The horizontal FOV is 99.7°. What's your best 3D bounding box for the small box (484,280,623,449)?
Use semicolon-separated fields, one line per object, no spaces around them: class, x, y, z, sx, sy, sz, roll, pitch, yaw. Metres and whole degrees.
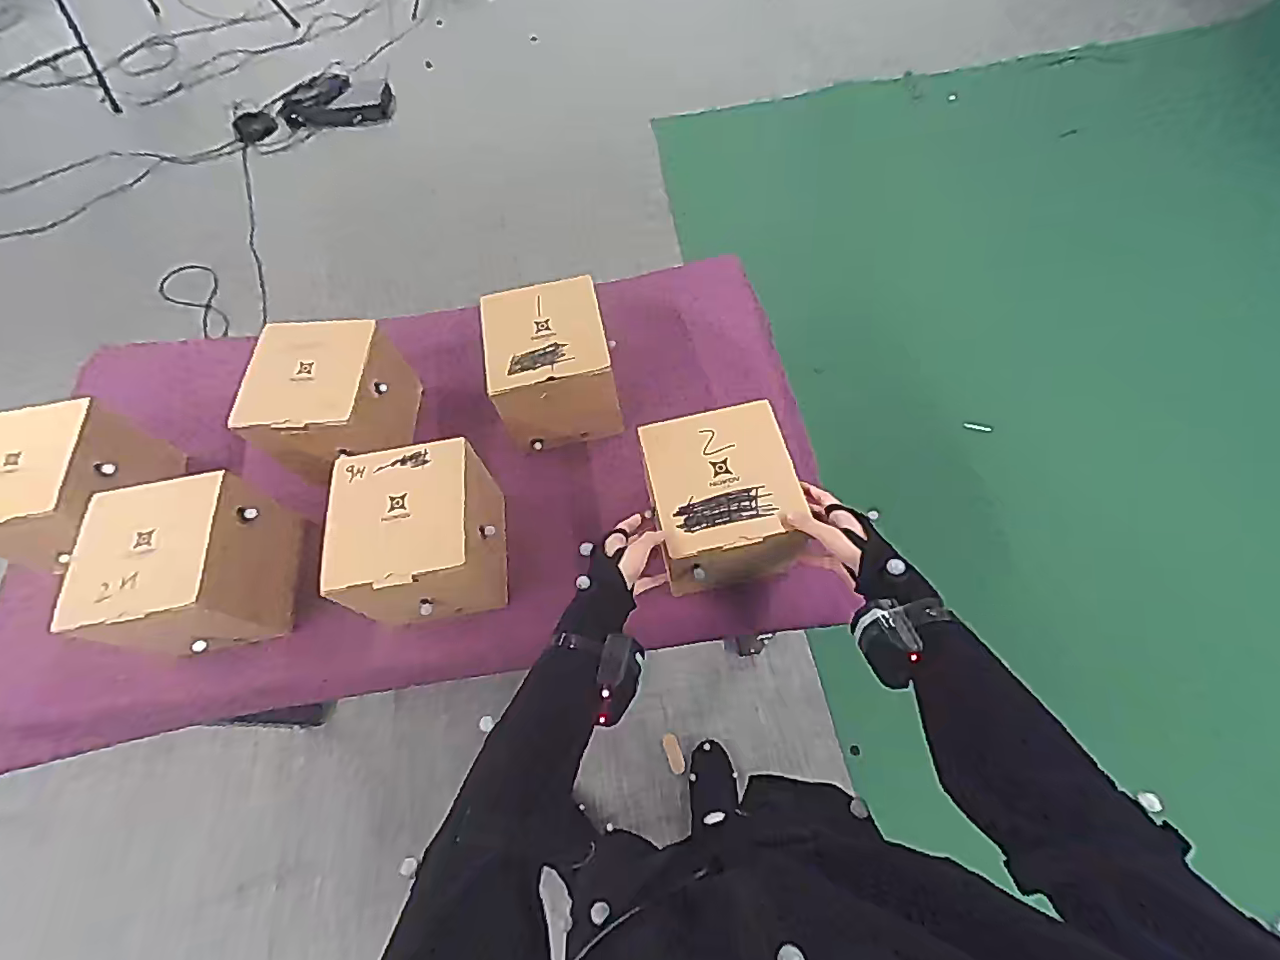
small box;-0.124;-0.161;0.808;0.168;0.176;0.179;-11;62;-2

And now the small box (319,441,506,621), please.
small box;-0.277;0.075;0.699;0.168;0.176;0.179;-9;62;-1

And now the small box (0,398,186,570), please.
small box;-0.804;0.011;0.772;0.168;0.176;0.179;-10;64;-1

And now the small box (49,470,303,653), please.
small box;-0.574;0.112;0.701;0.168;0.176;0.179;-10;63;0
